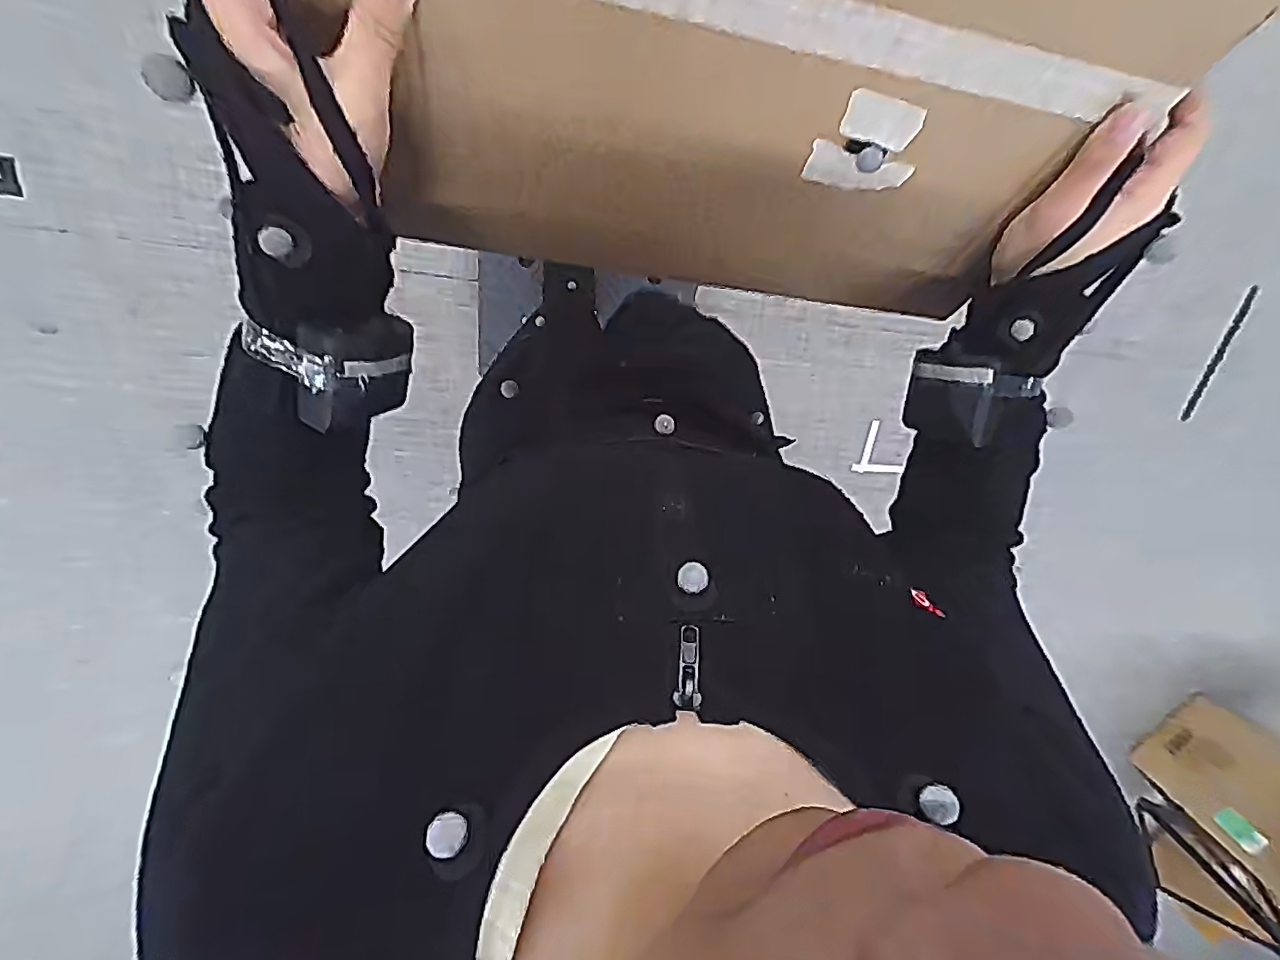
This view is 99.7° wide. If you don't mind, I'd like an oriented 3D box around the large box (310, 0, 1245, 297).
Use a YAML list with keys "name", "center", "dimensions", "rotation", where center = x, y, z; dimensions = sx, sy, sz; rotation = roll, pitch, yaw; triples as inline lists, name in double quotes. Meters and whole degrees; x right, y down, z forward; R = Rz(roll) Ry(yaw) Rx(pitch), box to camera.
- name: "large box"
  center: [0.054, -0.343, 0.294]
  dimensions: [0.408, 0.320, 0.320]
  rotation: [3, 157, -12]

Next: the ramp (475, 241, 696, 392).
- name: "ramp"
  center: [-0.081, -0.644, 1.085]
  dimensions: [0.509, 0.206, 0.991]
  rotation: [2, 116, -11]
